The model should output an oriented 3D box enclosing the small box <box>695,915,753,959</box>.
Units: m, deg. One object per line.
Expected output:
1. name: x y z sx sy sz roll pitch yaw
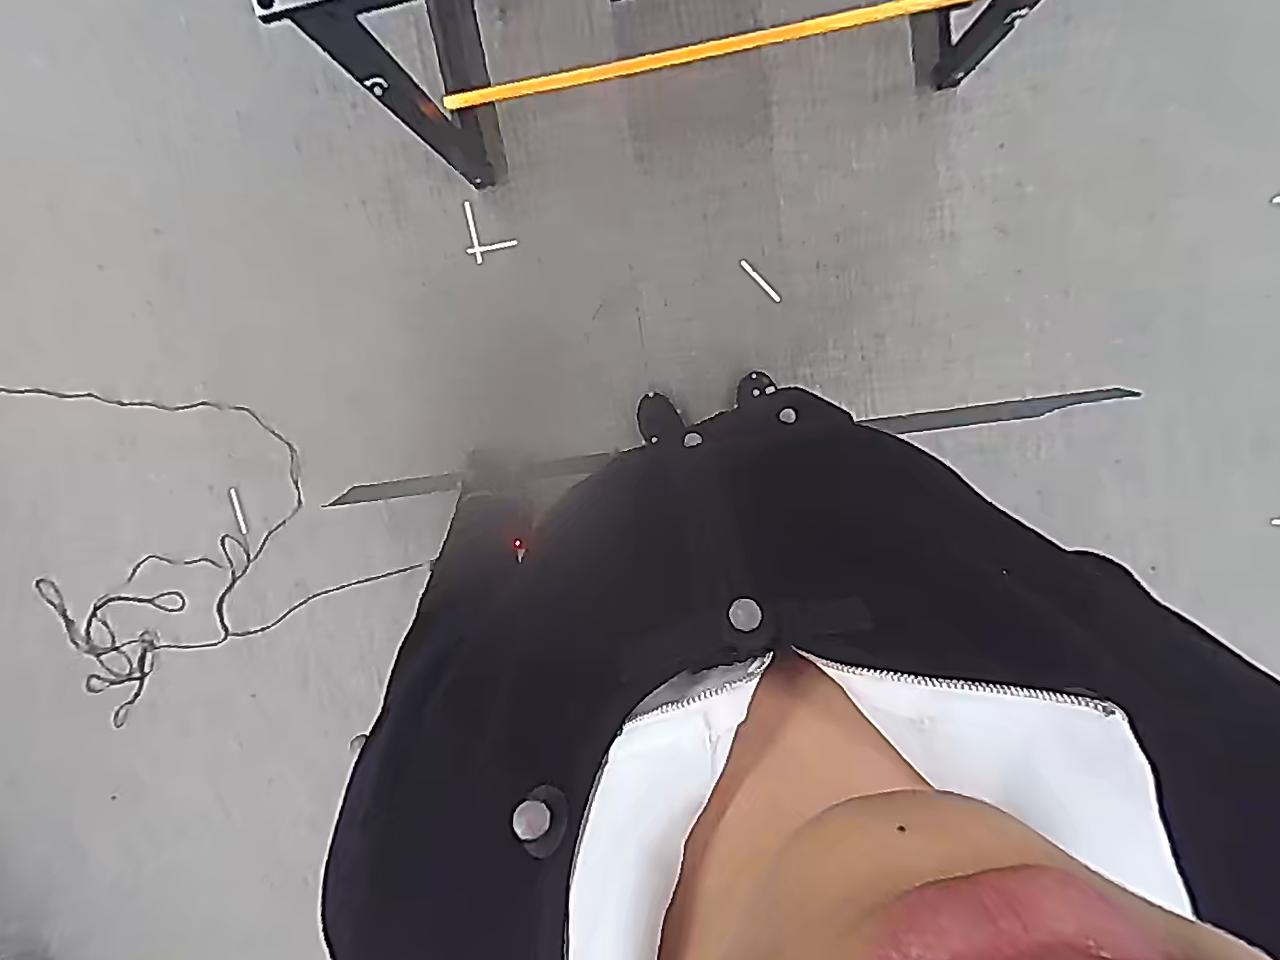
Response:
1. small box: 0.252 1.451 1.611 0.168 0.176 0.179 -5 101 5
